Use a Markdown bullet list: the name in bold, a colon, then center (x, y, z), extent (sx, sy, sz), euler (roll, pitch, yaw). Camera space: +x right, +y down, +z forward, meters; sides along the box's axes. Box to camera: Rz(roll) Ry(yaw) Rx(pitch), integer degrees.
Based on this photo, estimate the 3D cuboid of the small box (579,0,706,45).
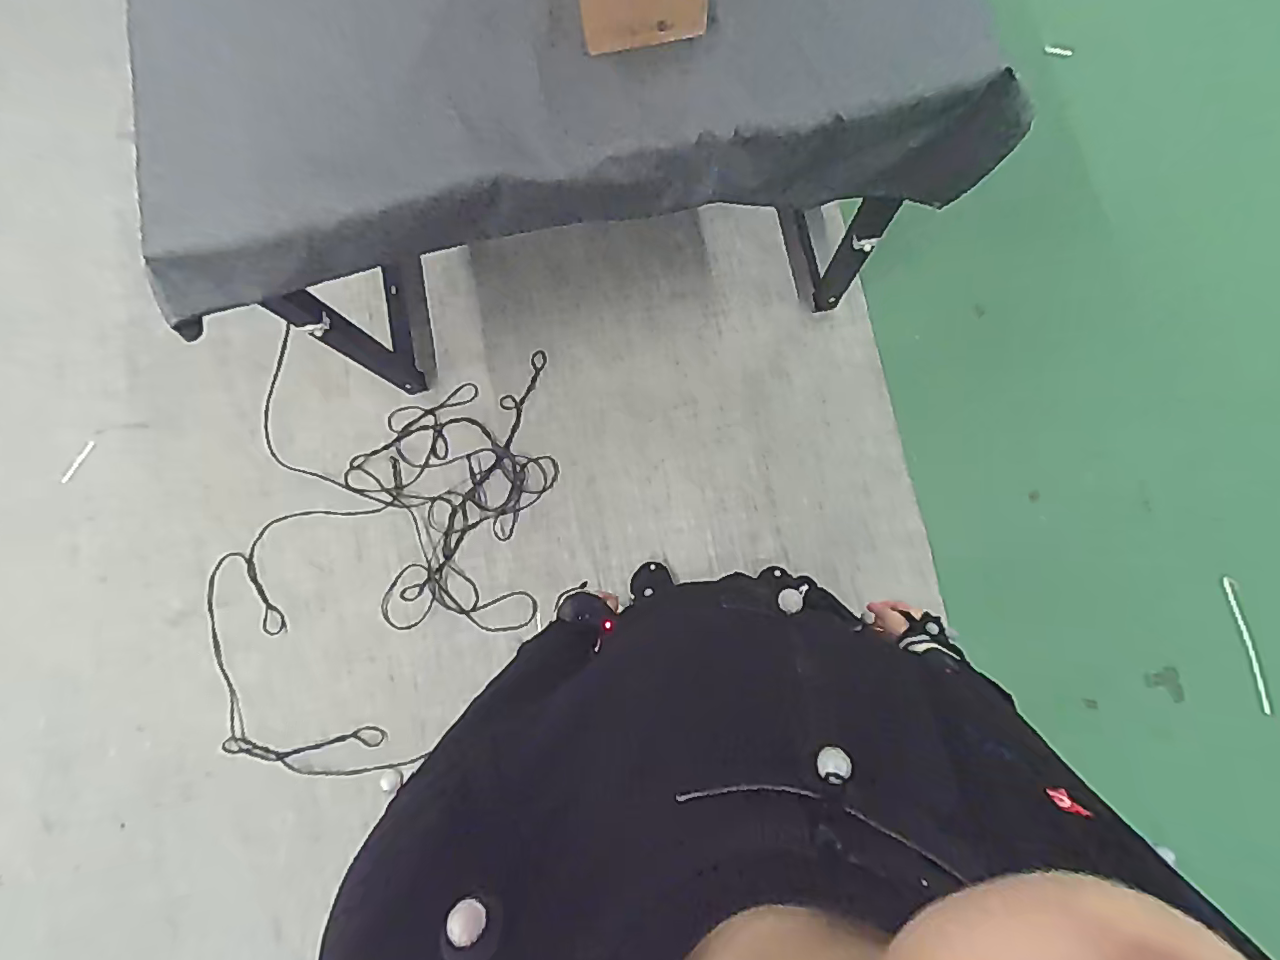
- **small box**: center (-0.005, -0.695, 0.683), extent (0.168, 0.176, 0.179), euler (-8, 80, 1)
